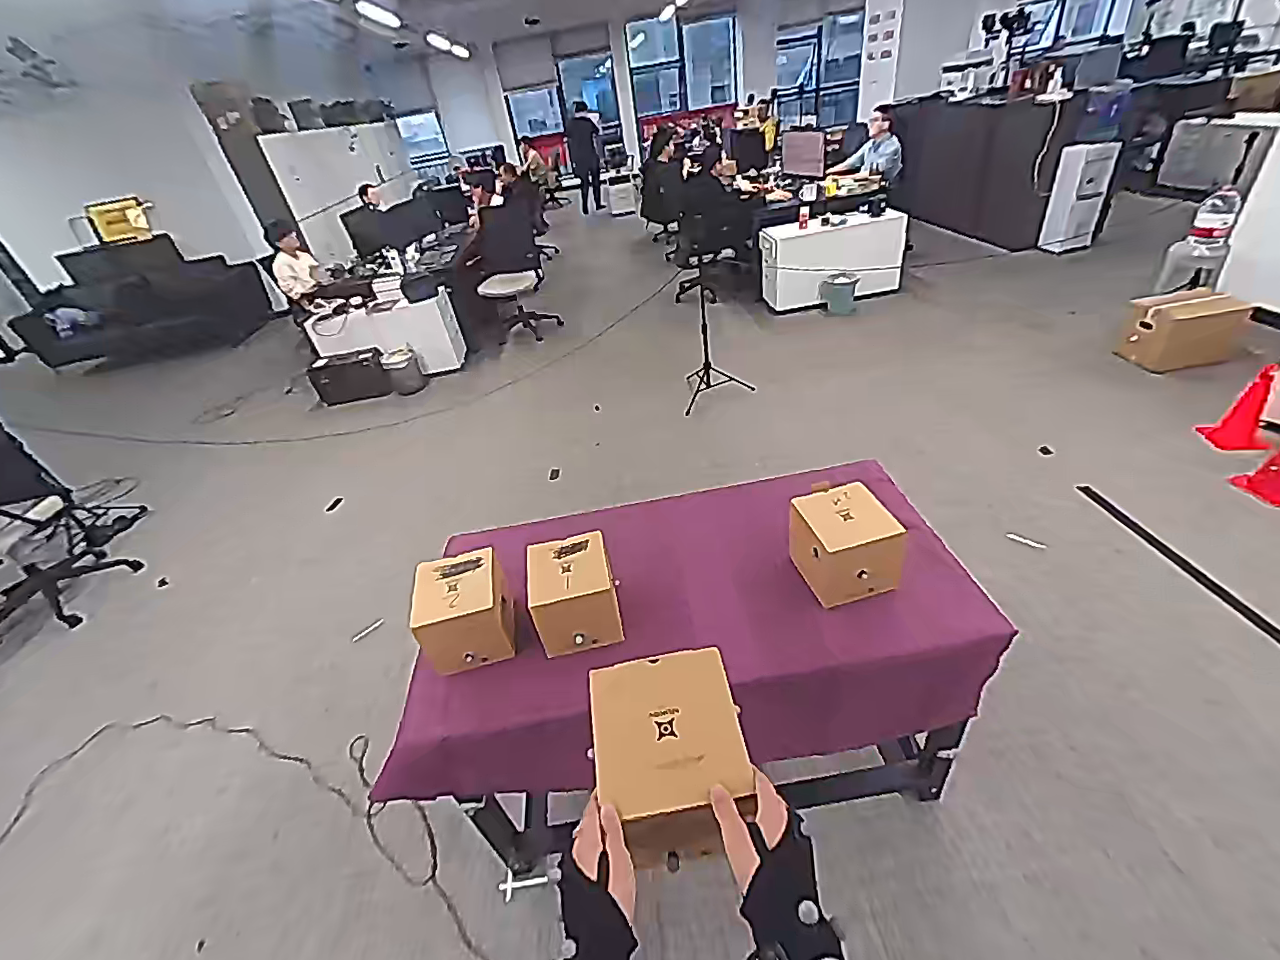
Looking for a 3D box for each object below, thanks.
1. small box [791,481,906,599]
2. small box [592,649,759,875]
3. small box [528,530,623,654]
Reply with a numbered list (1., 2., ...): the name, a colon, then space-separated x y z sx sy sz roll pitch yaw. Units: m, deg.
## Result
1. small box: 0.434 0.133 1.151 0.168 0.176 0.179 -14 36 -5
2. small box: 0.038 0.335 0.650 0.168 0.176 0.179 -10 38 -1
3. small box: -0.137 0.238 1.153 0.168 0.176 0.179 -13 37 -3
